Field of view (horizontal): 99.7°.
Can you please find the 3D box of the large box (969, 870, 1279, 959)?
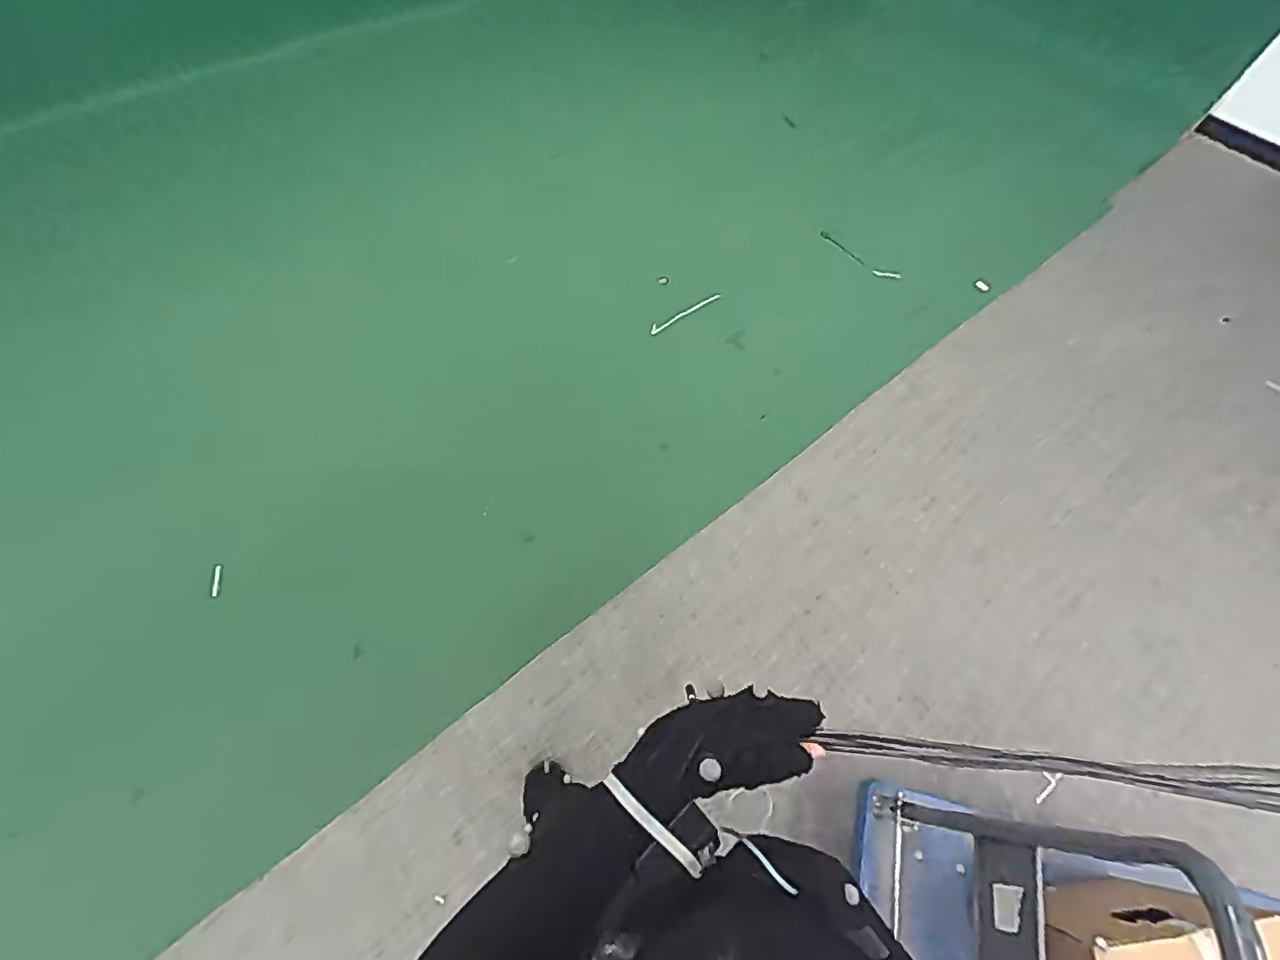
[{"bbox_3d":[0.796,0.873,0.819,0.320,0.320,0.408,-4,61,-5],"label":"large box"}]
